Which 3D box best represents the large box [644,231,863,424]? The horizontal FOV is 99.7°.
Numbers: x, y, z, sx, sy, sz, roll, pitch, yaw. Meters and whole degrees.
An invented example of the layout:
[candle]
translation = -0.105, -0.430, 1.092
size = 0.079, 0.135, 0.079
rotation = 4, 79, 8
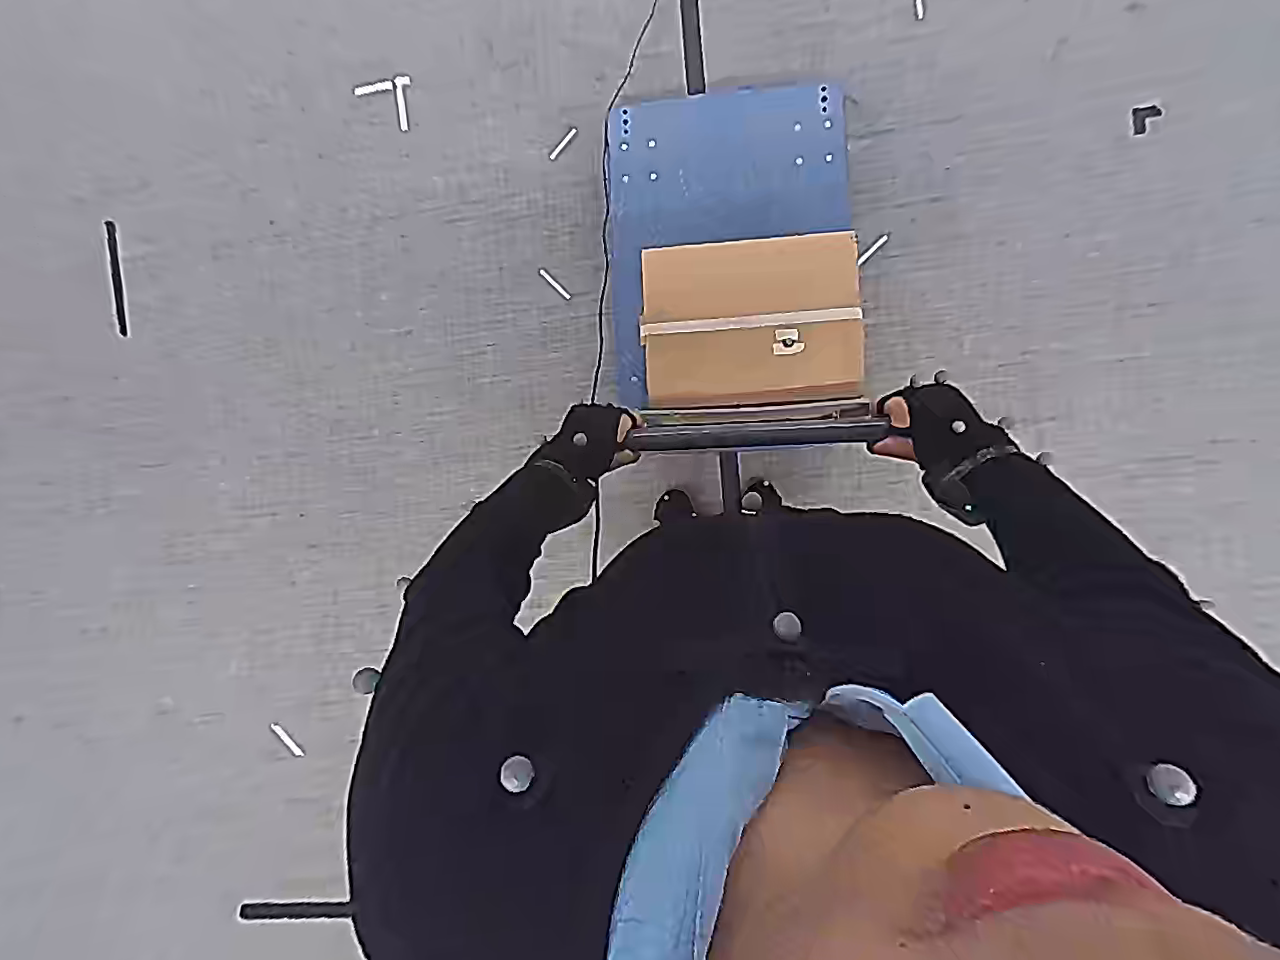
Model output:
[large box]
translation = 0.227, -0.305, 1.184
size = 0.408, 0.320, 0.320
rotation = -3, 90, 5
